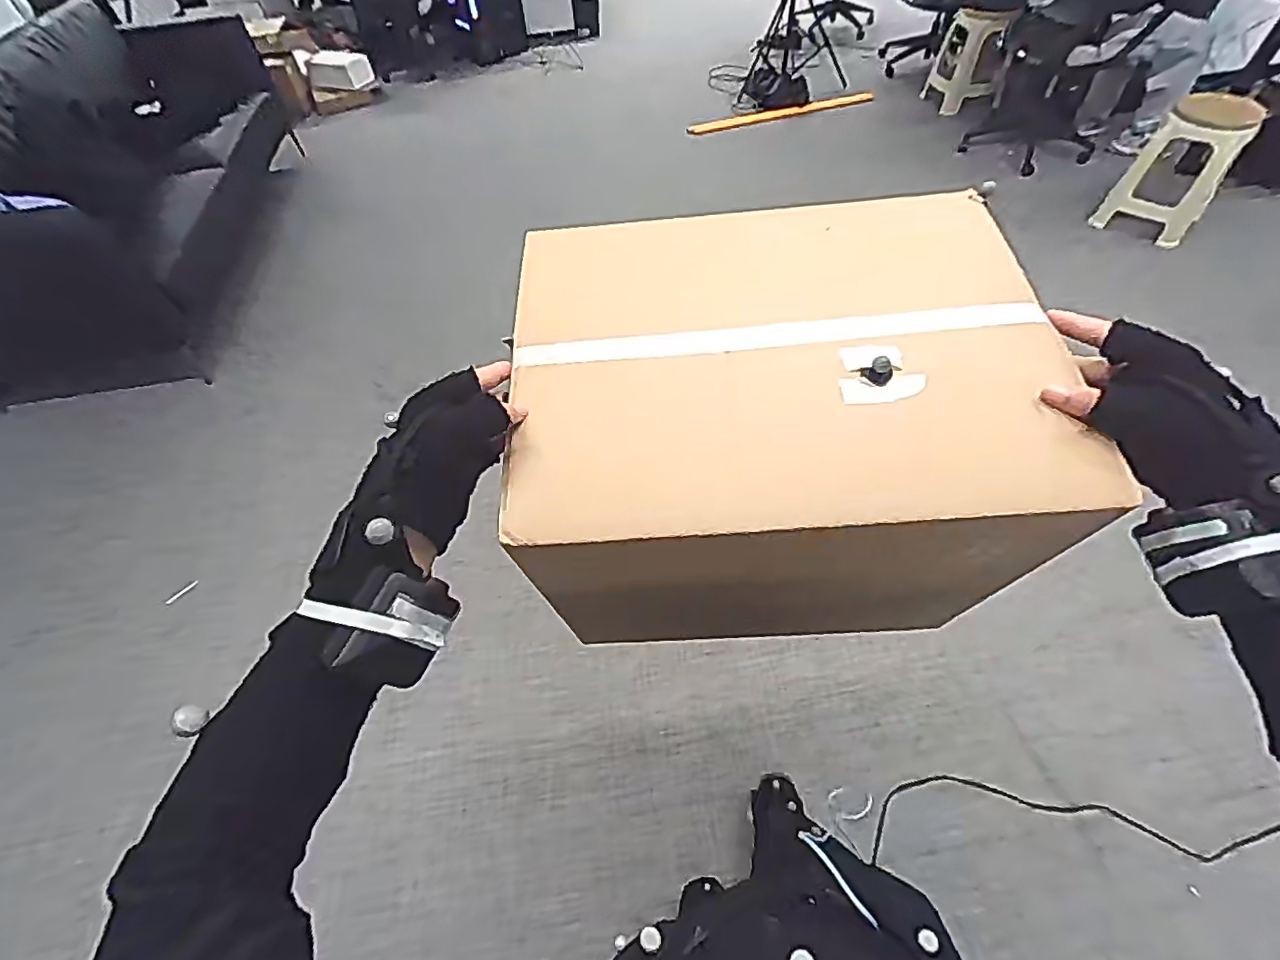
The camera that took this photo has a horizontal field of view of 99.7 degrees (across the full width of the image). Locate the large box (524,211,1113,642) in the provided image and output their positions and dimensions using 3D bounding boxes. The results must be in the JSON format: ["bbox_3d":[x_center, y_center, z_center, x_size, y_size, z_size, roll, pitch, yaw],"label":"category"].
[{"bbox_3d":[0.117,-0.030,0.563,0.408,0.320,0.320,-4,61,2],"label":"large box"}]
